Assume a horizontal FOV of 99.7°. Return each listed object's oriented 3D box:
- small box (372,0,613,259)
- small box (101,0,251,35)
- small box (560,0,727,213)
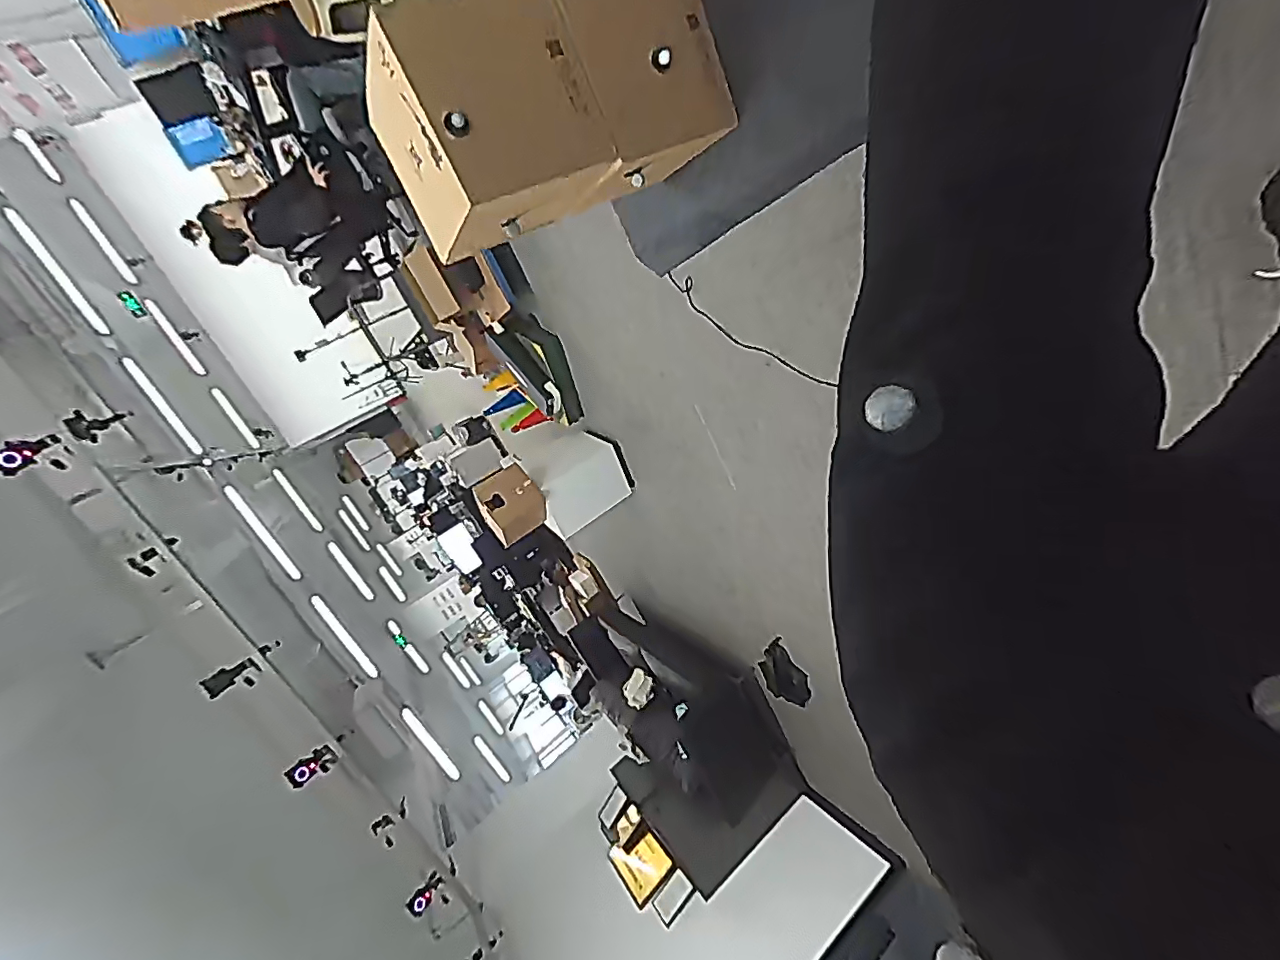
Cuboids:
[{"bbox_3d":[-0.153,-0.361,0.563,0.179,0.176,0.168,8,128,64],"label":"small box"},{"bbox_3d":[-0.398,-0.506,0.417,0.168,0.176,0.179,59,158,-17],"label":"small box"},{"bbox_3d":[-0.022,-0.441,0.620,0.179,0.176,0.168,13,132,61],"label":"small box"}]
